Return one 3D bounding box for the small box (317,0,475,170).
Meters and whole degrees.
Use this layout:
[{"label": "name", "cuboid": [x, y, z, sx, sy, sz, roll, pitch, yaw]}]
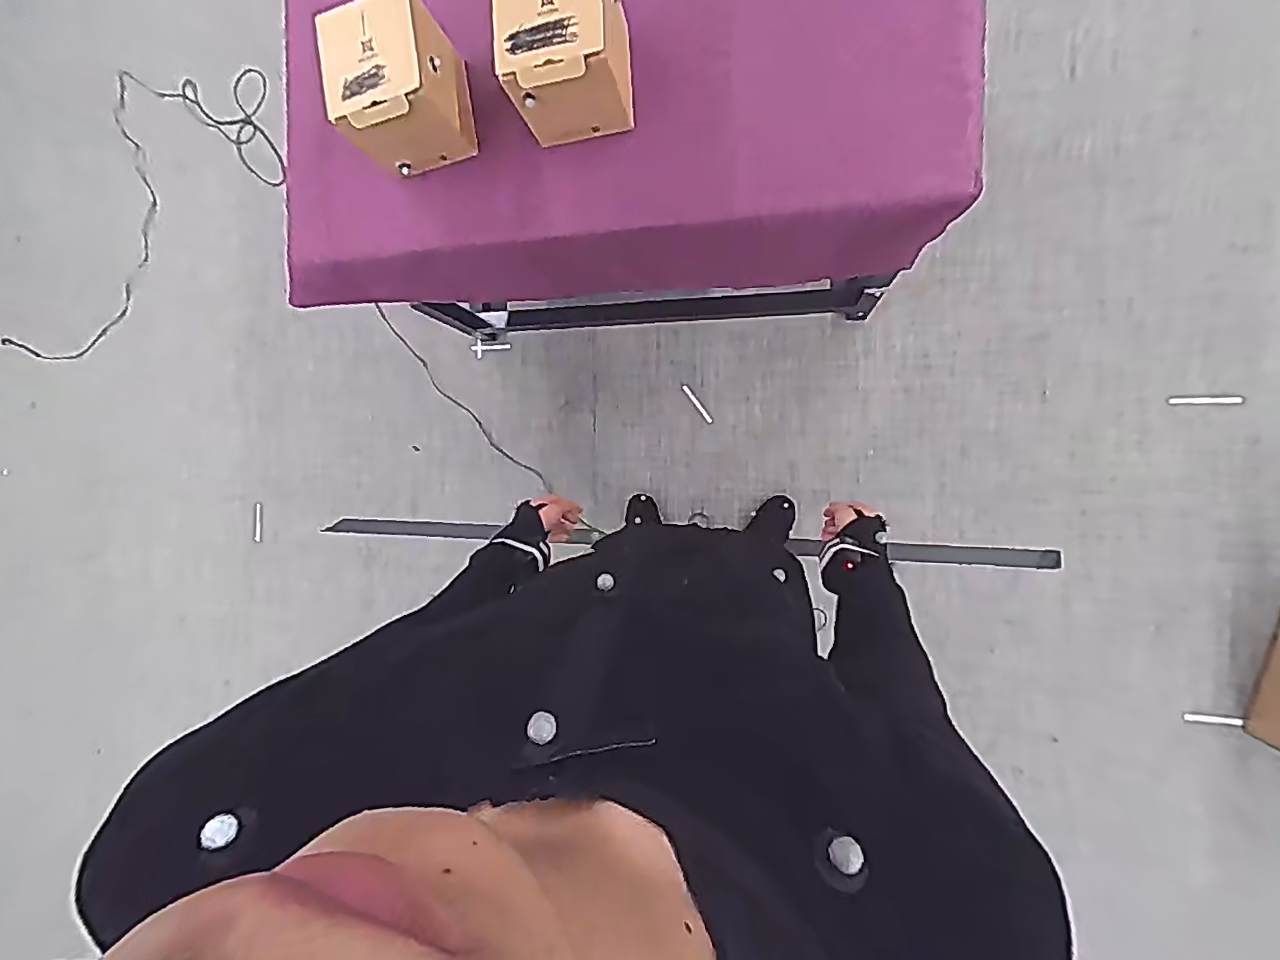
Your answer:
[{"label": "small box", "cuboid": [-0.392, -0.647, 0.895, 0.168, 0.176, 0.179, -10, 88, 12]}]
